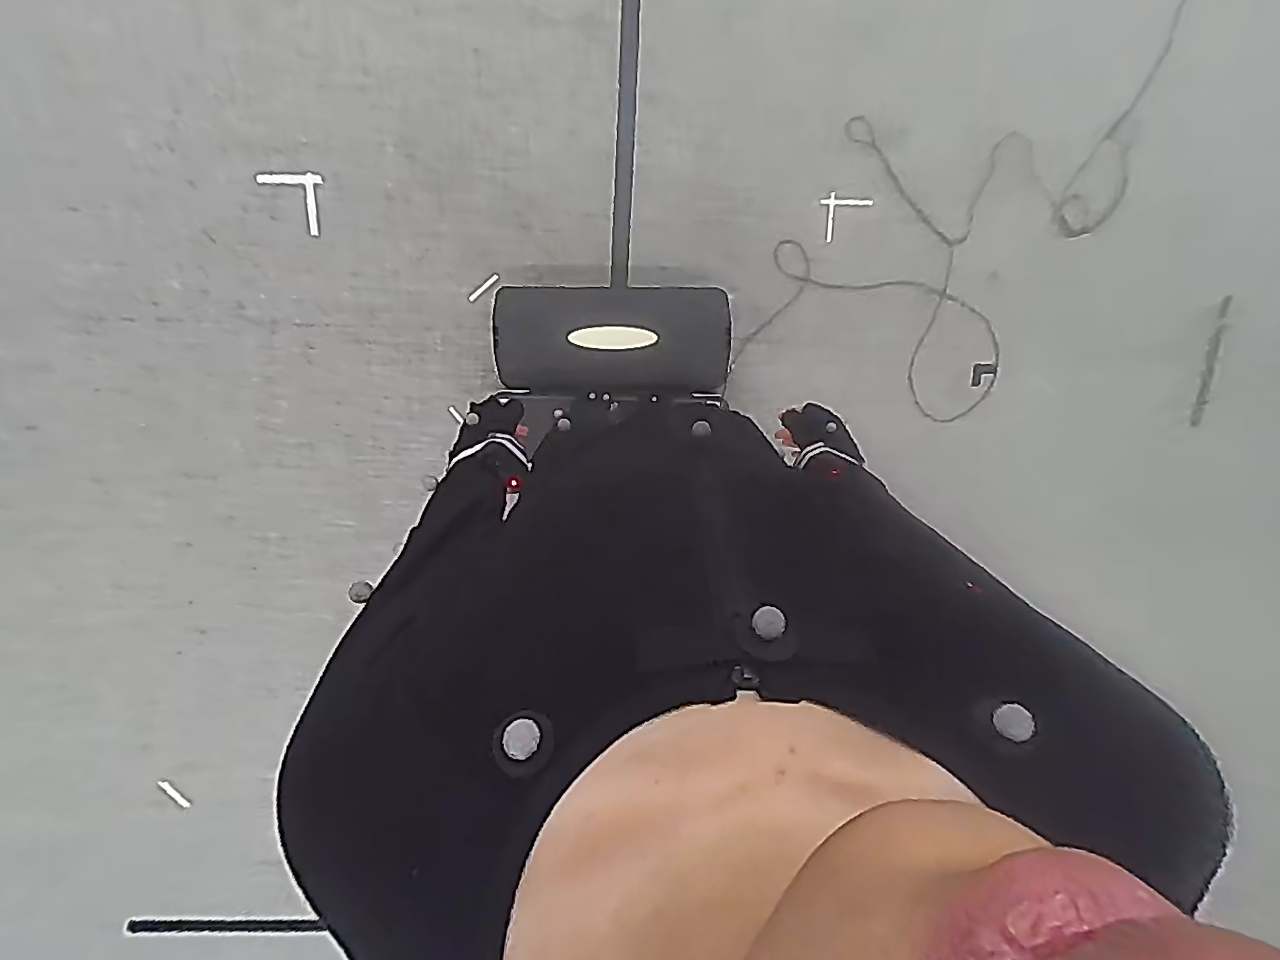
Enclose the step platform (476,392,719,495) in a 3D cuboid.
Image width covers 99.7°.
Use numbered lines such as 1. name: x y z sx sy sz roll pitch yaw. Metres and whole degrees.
1. step platform: -0.115 -0.107 1.554 0.684 0.204 0.286 0 100 -1
